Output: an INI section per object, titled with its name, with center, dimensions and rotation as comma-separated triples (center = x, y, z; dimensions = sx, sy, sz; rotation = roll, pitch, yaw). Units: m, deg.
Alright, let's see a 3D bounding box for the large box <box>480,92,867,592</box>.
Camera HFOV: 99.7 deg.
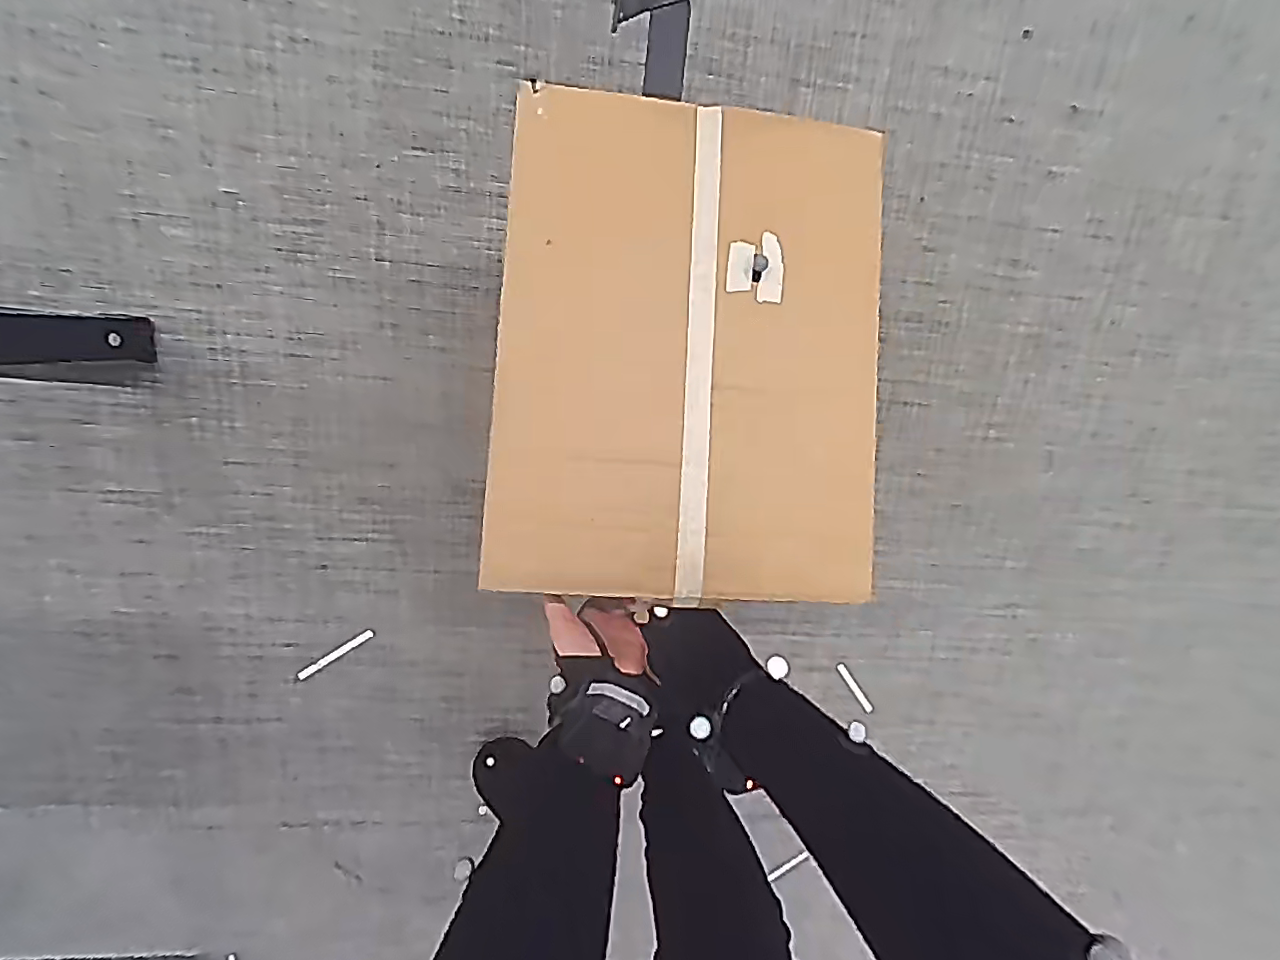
[large box]
center = 0.022, -0.099, 0.585
dimensions = 0.320, 0.320, 0.408
rotation = 4, 85, -7
